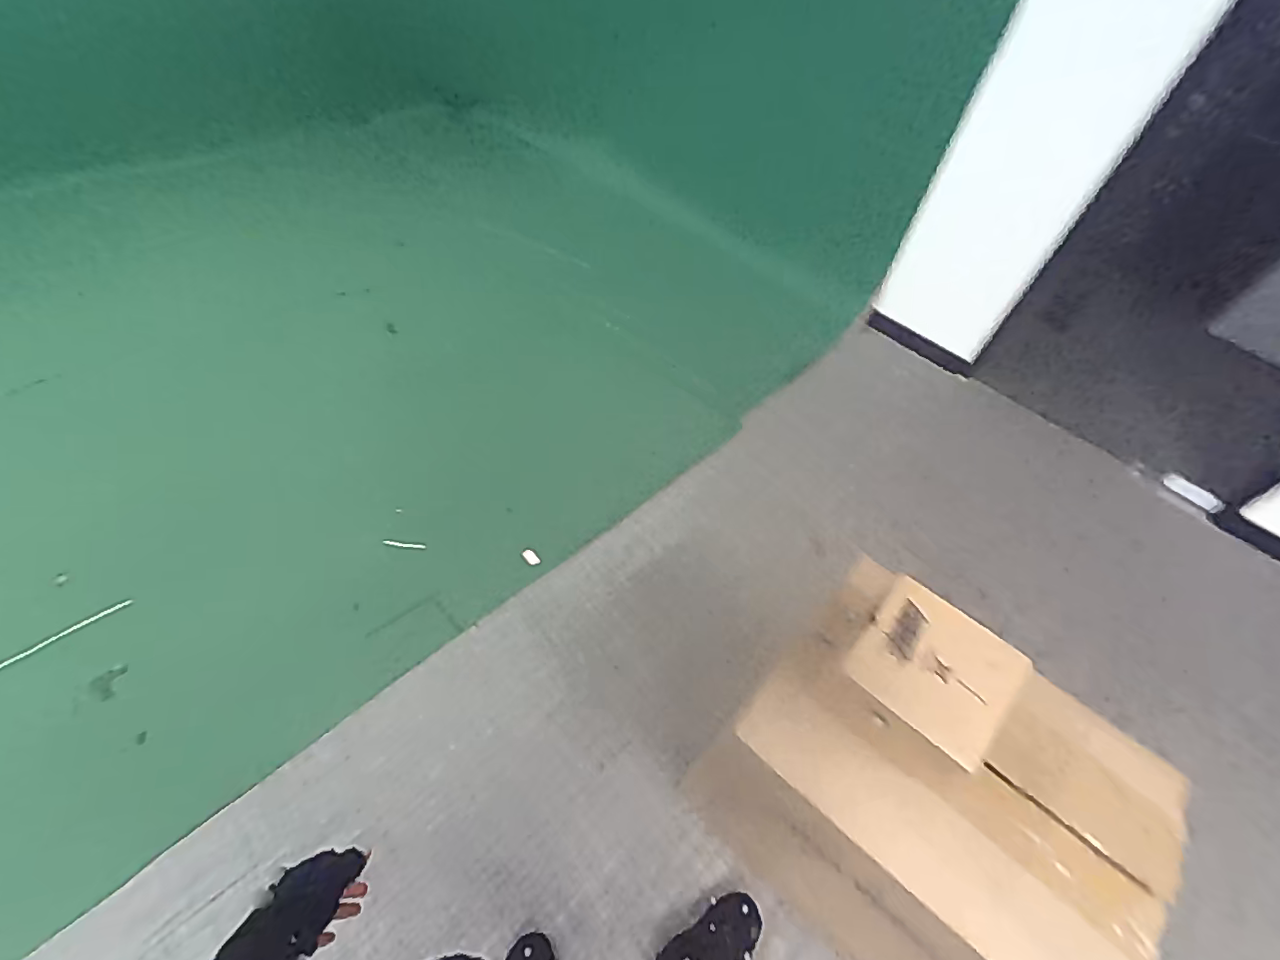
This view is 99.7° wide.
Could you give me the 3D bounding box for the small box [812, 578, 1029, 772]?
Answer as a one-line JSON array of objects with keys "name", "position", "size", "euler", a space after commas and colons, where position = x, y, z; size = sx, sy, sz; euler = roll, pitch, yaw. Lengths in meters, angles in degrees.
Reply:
[{"name": "small box", "position": [0.362, 0.270, 0.732], "size": [0.179, 0.176, 0.168], "euler": [37, 67, 20]}]
